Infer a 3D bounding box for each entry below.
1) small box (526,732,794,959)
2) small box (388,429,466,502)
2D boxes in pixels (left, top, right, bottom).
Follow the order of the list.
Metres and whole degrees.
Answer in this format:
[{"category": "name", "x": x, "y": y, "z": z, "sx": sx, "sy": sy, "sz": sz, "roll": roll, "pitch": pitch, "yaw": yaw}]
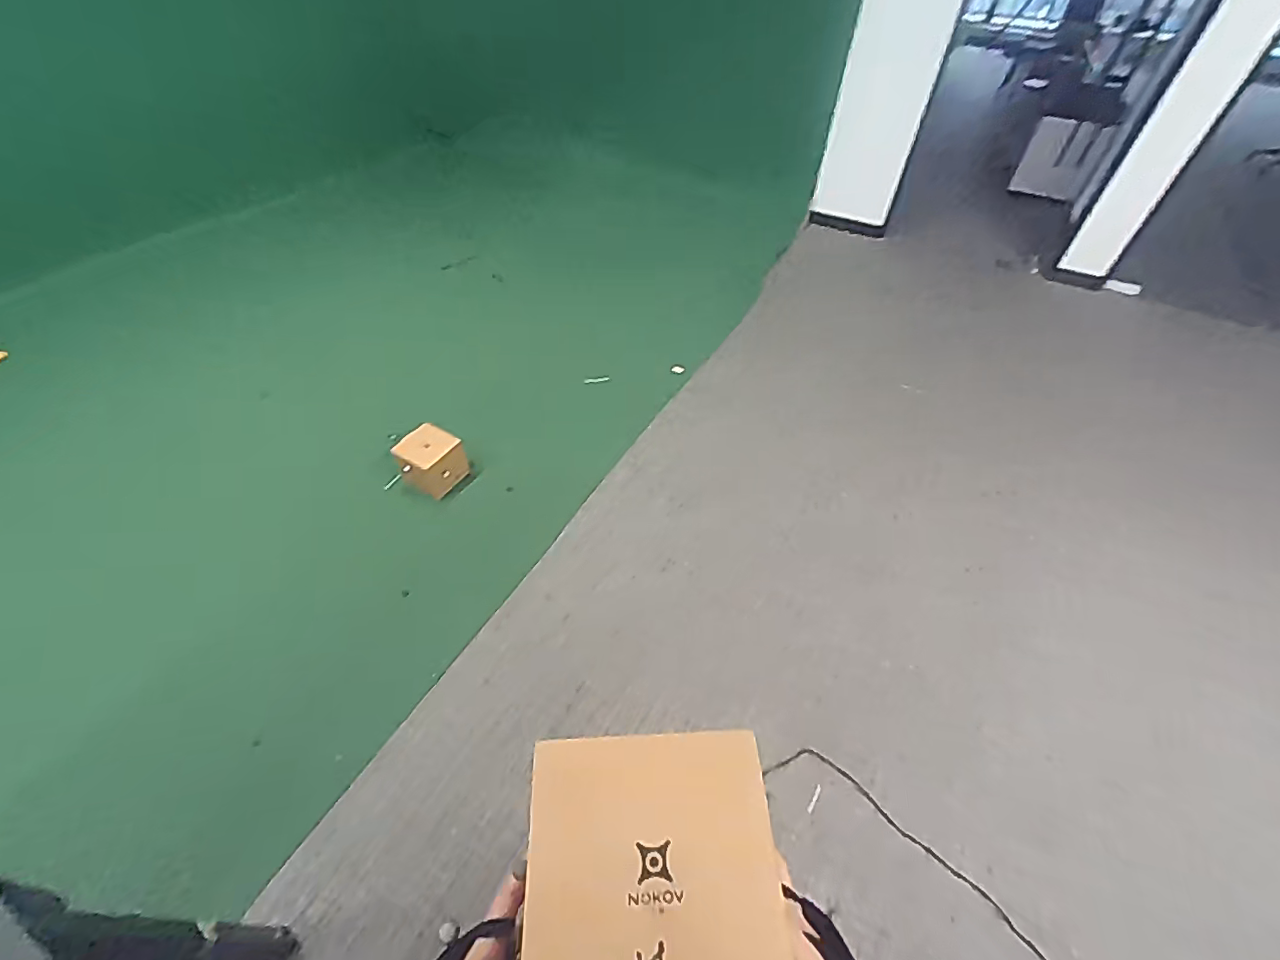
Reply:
[{"category": "small box", "x": 0.009, "y": 0.310, "z": 0.415, "sx": 0.168, "sy": 0.176, "sz": 0.179, "roll": -1, "pitch": 51, "yaw": -2}, {"category": "small box", "x": -0.748, "y": -0.046, "z": 1.923, "sx": 0.179, "sy": 0.176, "sz": 0.168, "roll": 24, "pitch": 52, "yaw": 20}]
